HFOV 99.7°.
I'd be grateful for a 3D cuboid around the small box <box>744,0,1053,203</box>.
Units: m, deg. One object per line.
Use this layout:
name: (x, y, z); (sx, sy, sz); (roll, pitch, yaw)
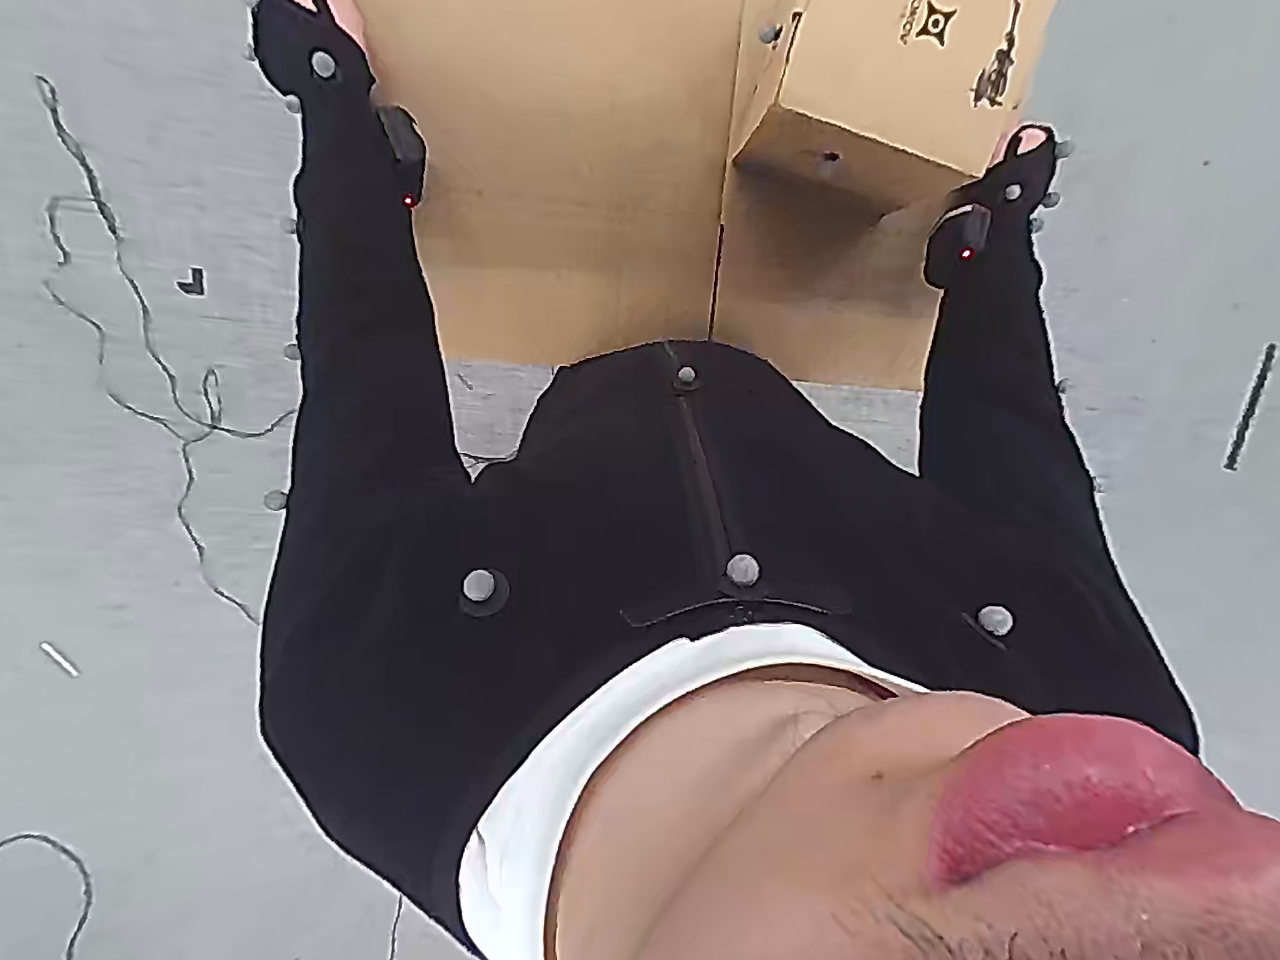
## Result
small box: (0.205, -0.362, 0.468); (0.179, 0.176, 0.168); (16, 106, -5)
